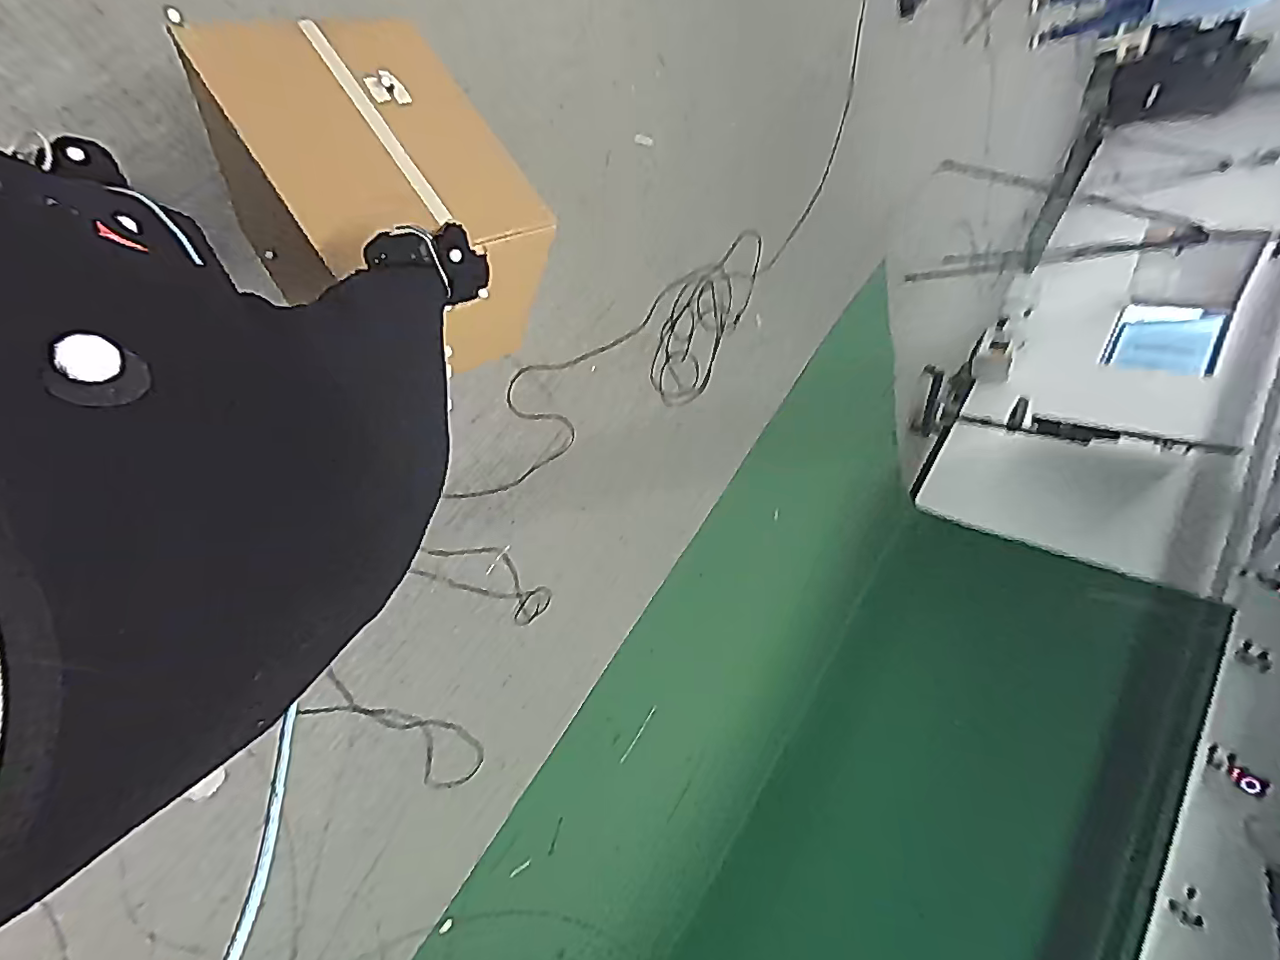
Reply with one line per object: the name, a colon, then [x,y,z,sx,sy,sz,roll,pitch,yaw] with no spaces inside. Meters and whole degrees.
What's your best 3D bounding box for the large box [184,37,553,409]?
large box: [-0.400,-0.394,0.861,0.320,0.408,0.320,-31,172,-31]
